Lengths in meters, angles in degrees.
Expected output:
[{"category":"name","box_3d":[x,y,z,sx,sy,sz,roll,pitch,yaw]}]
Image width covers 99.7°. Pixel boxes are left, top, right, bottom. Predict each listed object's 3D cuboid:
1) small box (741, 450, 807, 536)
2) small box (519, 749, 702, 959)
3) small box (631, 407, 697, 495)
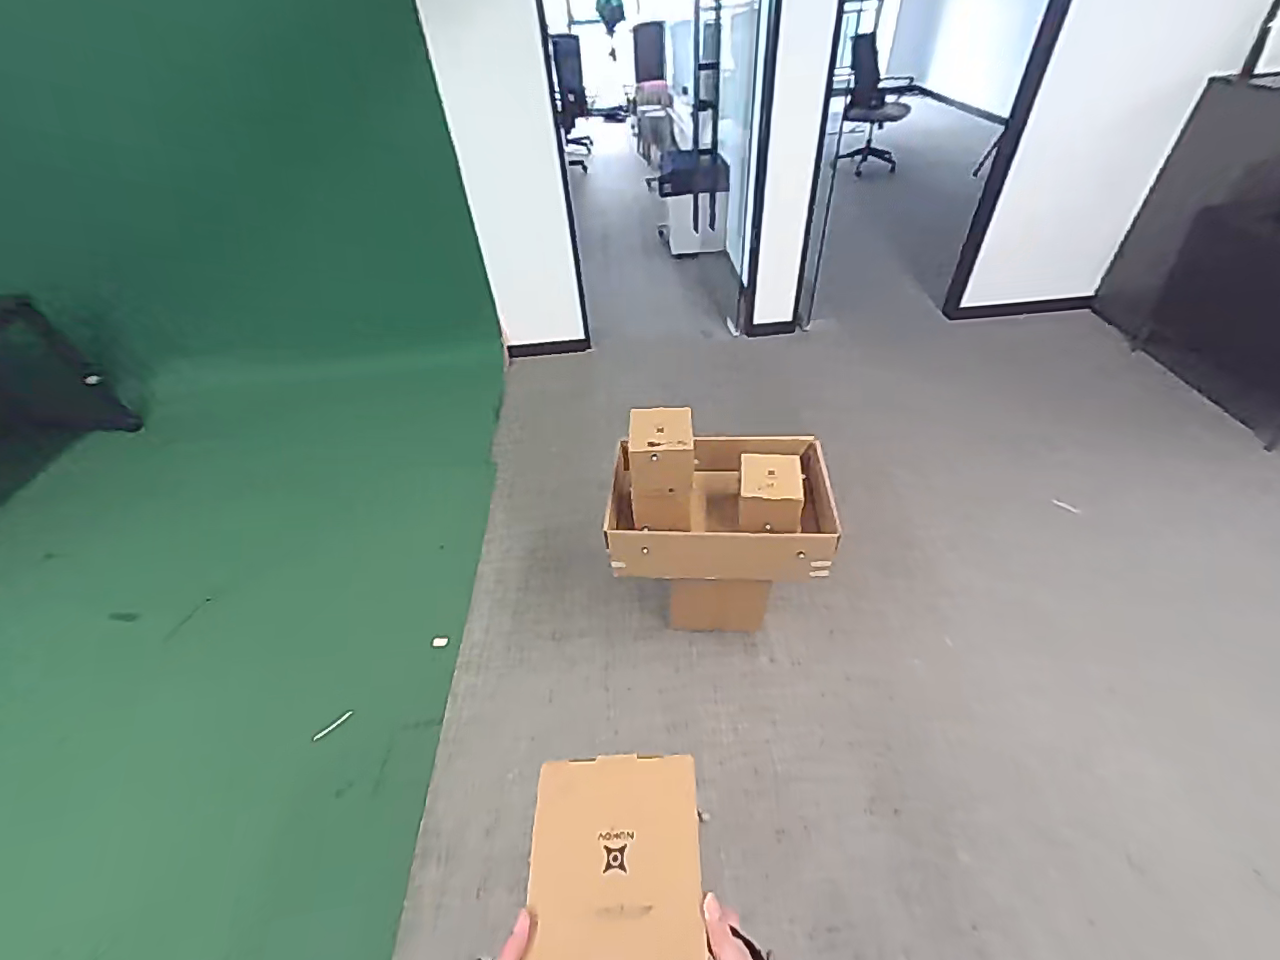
[{"category":"small box","box_3d":[0.378,0.036,1.545,0.168,0.176,0.179,2,45,10]},{"category":"small box","box_3d":[-0.020,0.415,0.592,0.168,0.176,0.179,-4,47,5]},{"category":"small box","box_3d":[0.068,-0.079,1.468,0.168,0.176,0.179,-3,44,5]}]
